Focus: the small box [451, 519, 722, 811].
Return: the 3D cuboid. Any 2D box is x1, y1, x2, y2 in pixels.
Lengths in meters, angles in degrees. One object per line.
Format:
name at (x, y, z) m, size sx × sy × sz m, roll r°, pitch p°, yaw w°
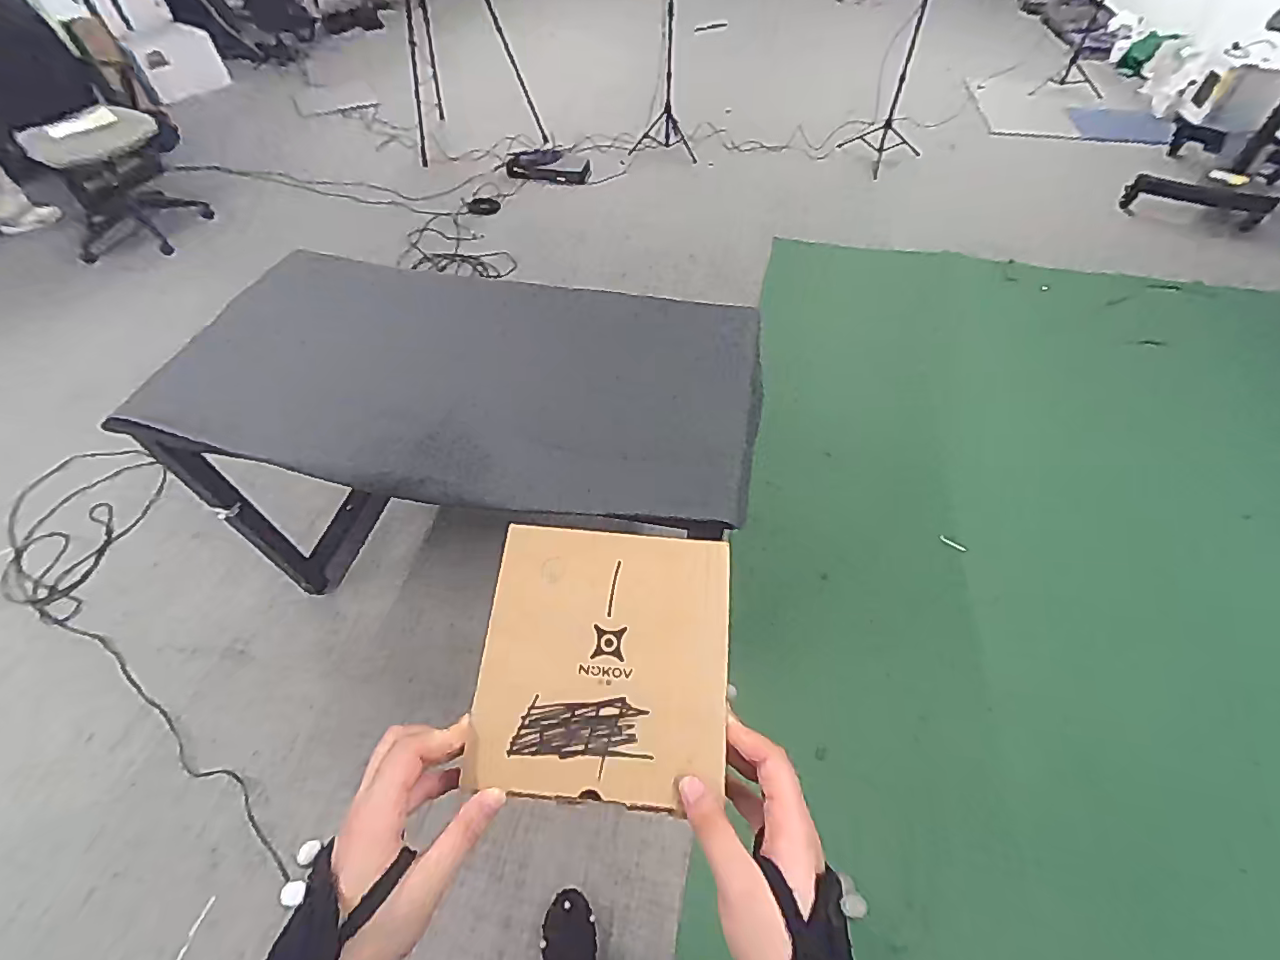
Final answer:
small box at (-0.029, 0.146, 0.436) m, size 0.168 × 0.176 × 0.179 m, roll 5°, pitch 66°, yaw 2°
